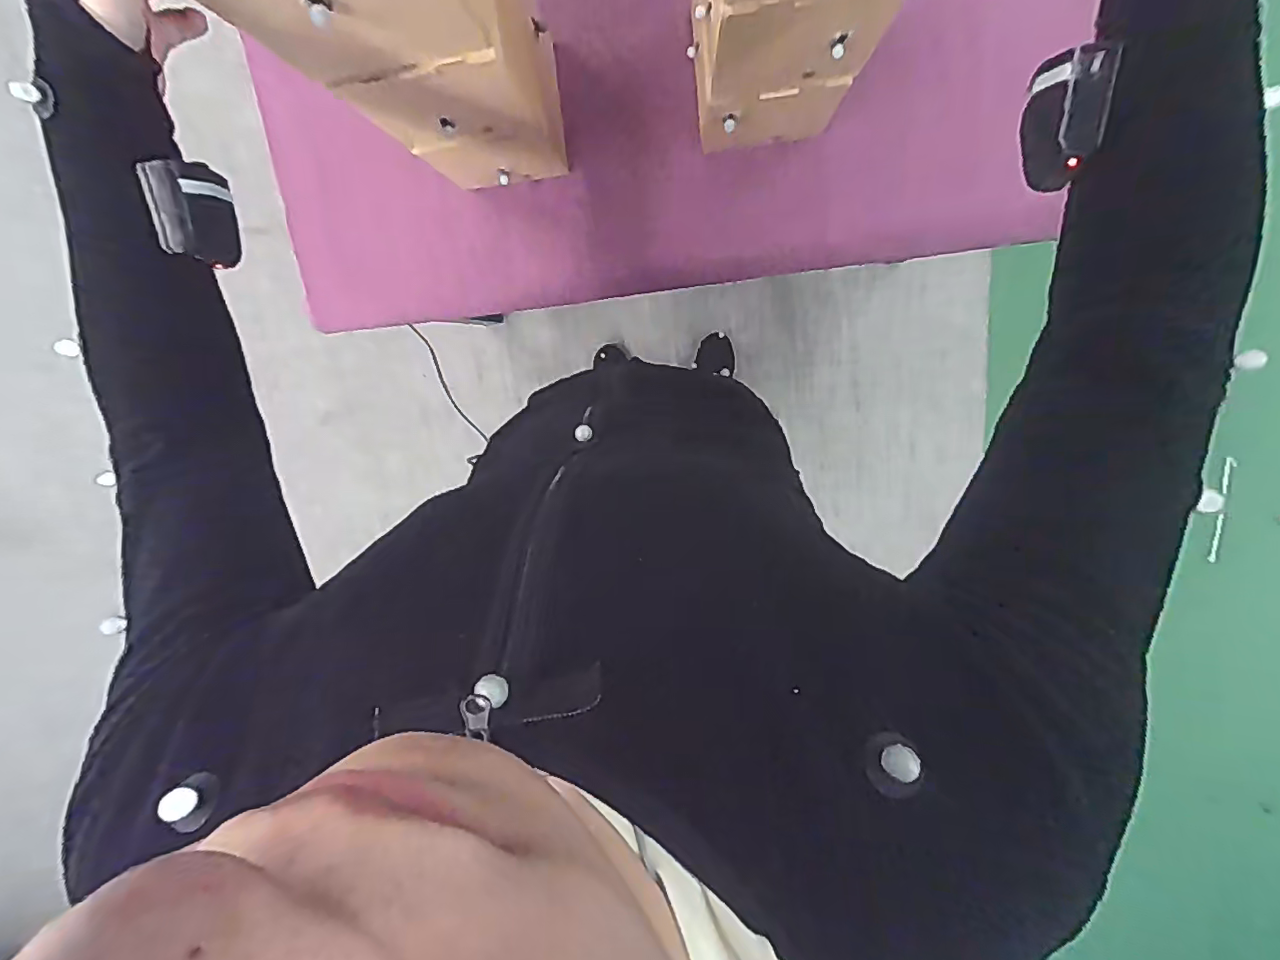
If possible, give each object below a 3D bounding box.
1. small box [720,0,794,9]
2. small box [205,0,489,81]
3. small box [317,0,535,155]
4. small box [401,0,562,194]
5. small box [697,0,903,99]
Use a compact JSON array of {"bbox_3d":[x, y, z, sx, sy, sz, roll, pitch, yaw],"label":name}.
[{"bbox_3d":[0.138,-0.456,0.348,0.179,0.176,0.168,-5,103,5],"label":"small box"},{"bbox_3d":[-0.231,-0.420,0.382,0.179,0.176,0.168,-6,104,6],"label":"small box"},{"bbox_3d":[-0.215,-0.459,0.540,0.168,0.176,0.179,-7,104,5],"label":"small box"},{"bbox_3d":[-0.205,-0.495,0.698,0.168,0.176,0.179,-5,104,5],"label":"small box"},{"bbox_3d":[0.141,-0.492,0.507,0.168,0.176,0.179,-6,102,5],"label":"small box"}]
